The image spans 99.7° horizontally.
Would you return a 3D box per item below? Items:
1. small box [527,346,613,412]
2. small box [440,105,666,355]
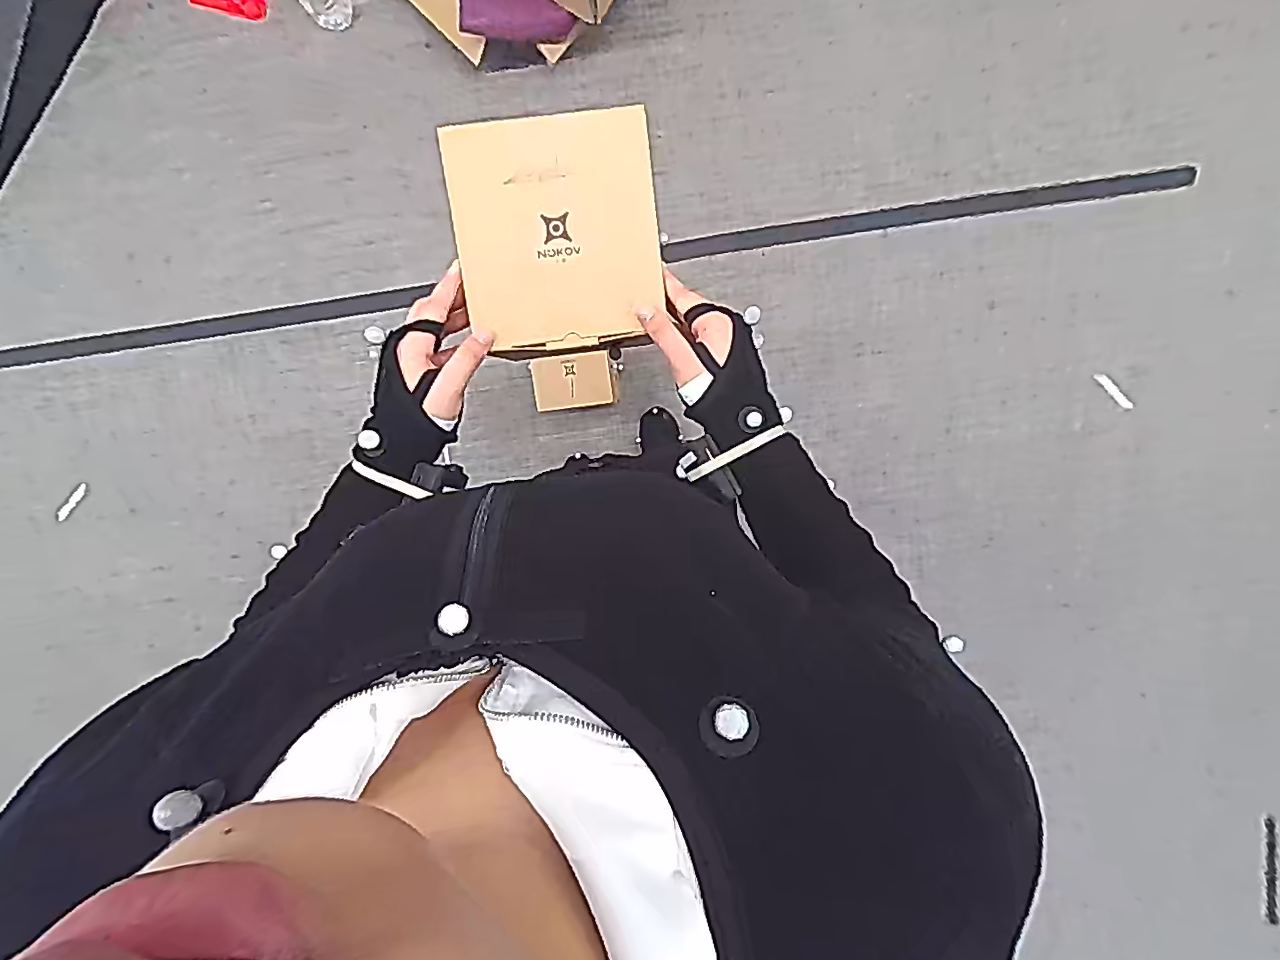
[{"bbox_3d":[-0.153,-0.248,1.217,0.168,0.176,0.179,-7,98,1],"label":"small box"},{"bbox_3d":[-0.071,-0.217,0.519,0.168,0.176,0.179,-8,100,-2],"label":"small box"}]
